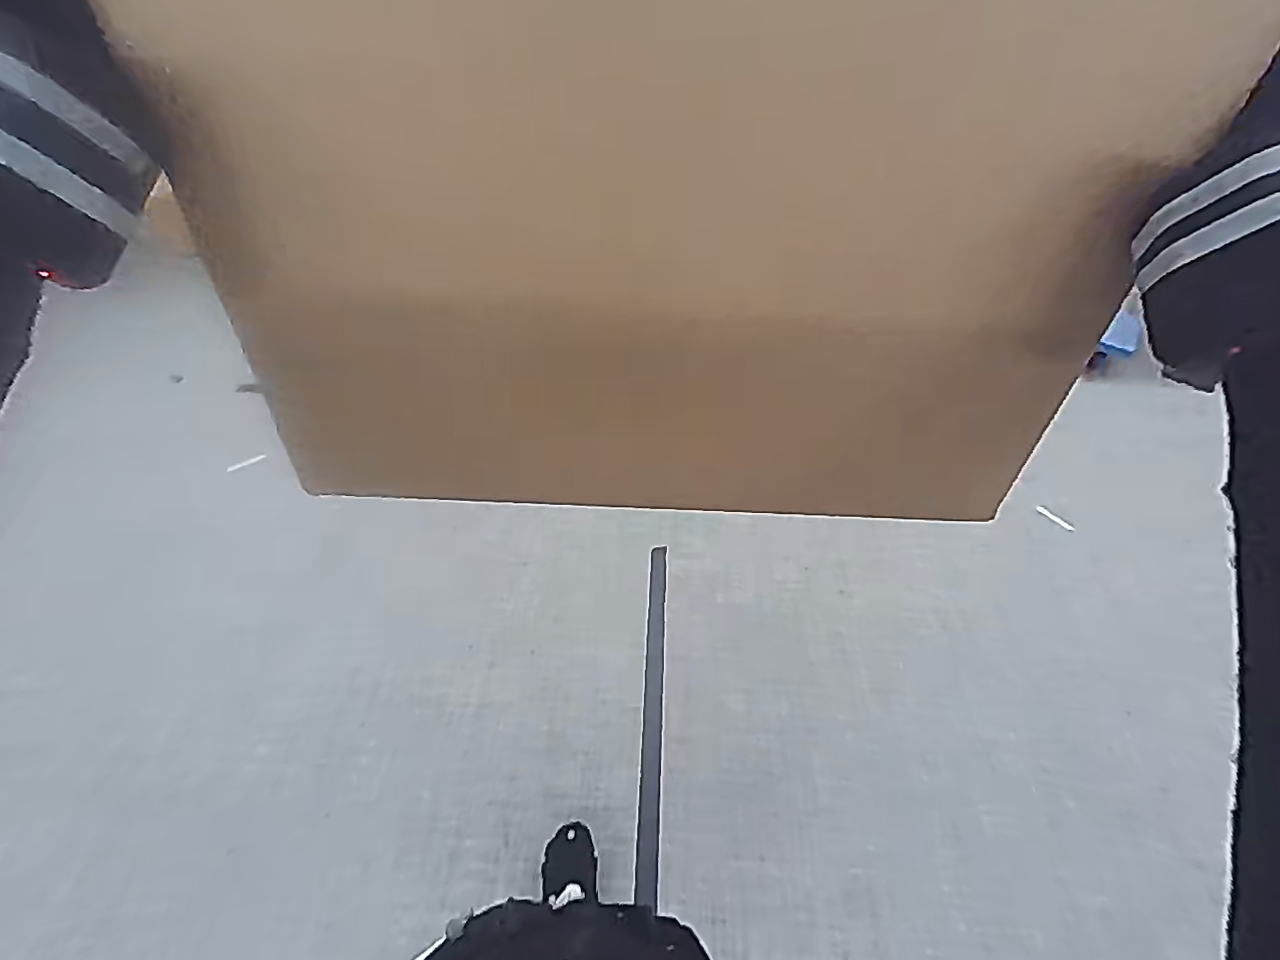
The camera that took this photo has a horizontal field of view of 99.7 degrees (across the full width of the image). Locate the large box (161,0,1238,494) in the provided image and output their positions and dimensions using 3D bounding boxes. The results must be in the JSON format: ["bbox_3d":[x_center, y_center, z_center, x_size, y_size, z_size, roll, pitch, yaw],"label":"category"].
[{"bbox_3d":[0.016,-0.205,0.357,0.408,0.320,0.320,3,38,-2],"label":"large box"}]
